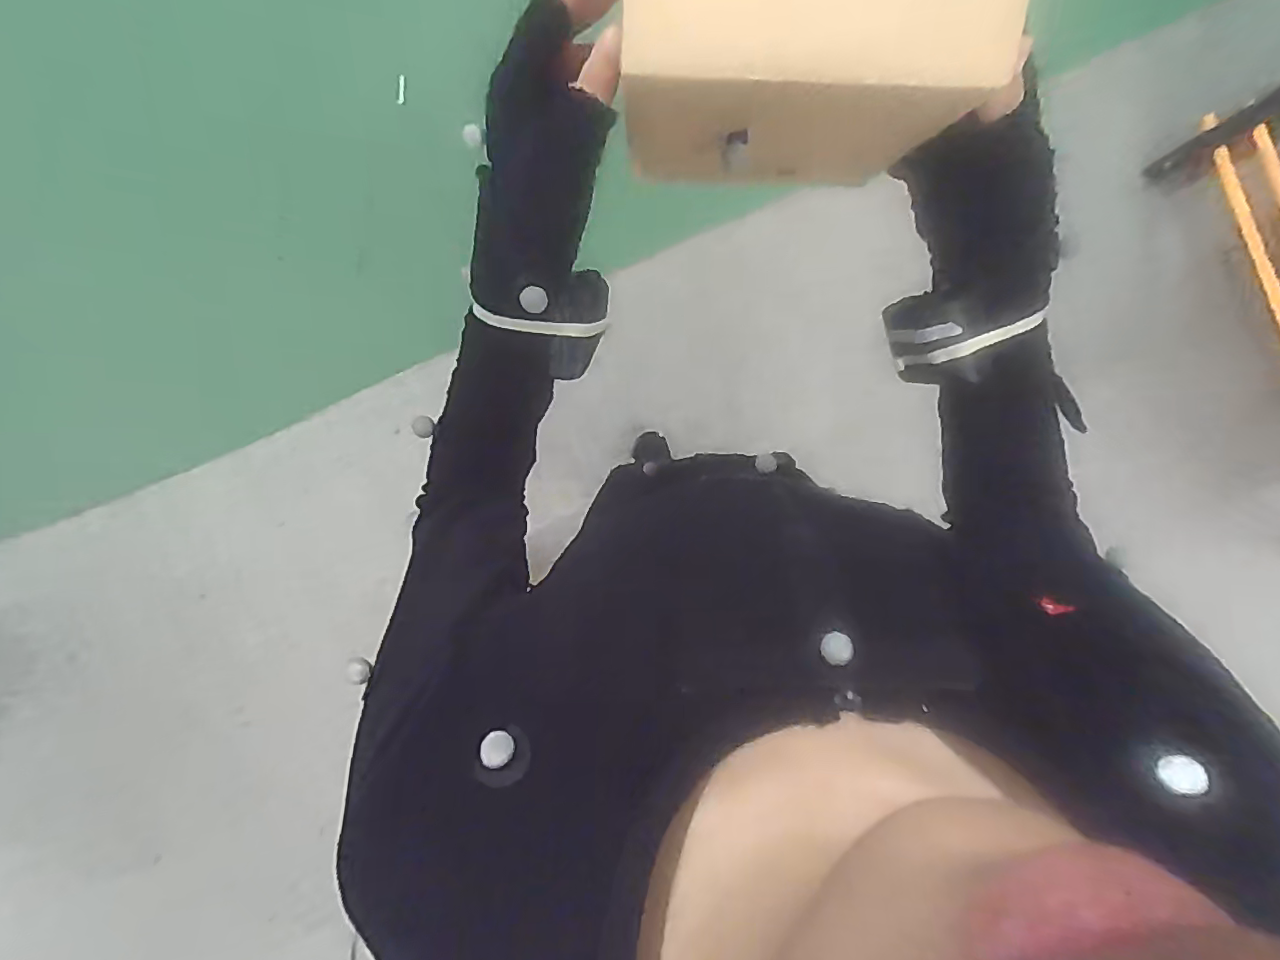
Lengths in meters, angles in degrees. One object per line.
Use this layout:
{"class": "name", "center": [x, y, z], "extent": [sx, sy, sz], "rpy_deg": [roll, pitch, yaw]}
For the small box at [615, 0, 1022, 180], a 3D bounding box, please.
{"class": "small box", "center": [0.078, -0.273, 0.282], "extent": [0.168, 0.176, 0.179], "rpy_deg": [3, 104, 1]}
